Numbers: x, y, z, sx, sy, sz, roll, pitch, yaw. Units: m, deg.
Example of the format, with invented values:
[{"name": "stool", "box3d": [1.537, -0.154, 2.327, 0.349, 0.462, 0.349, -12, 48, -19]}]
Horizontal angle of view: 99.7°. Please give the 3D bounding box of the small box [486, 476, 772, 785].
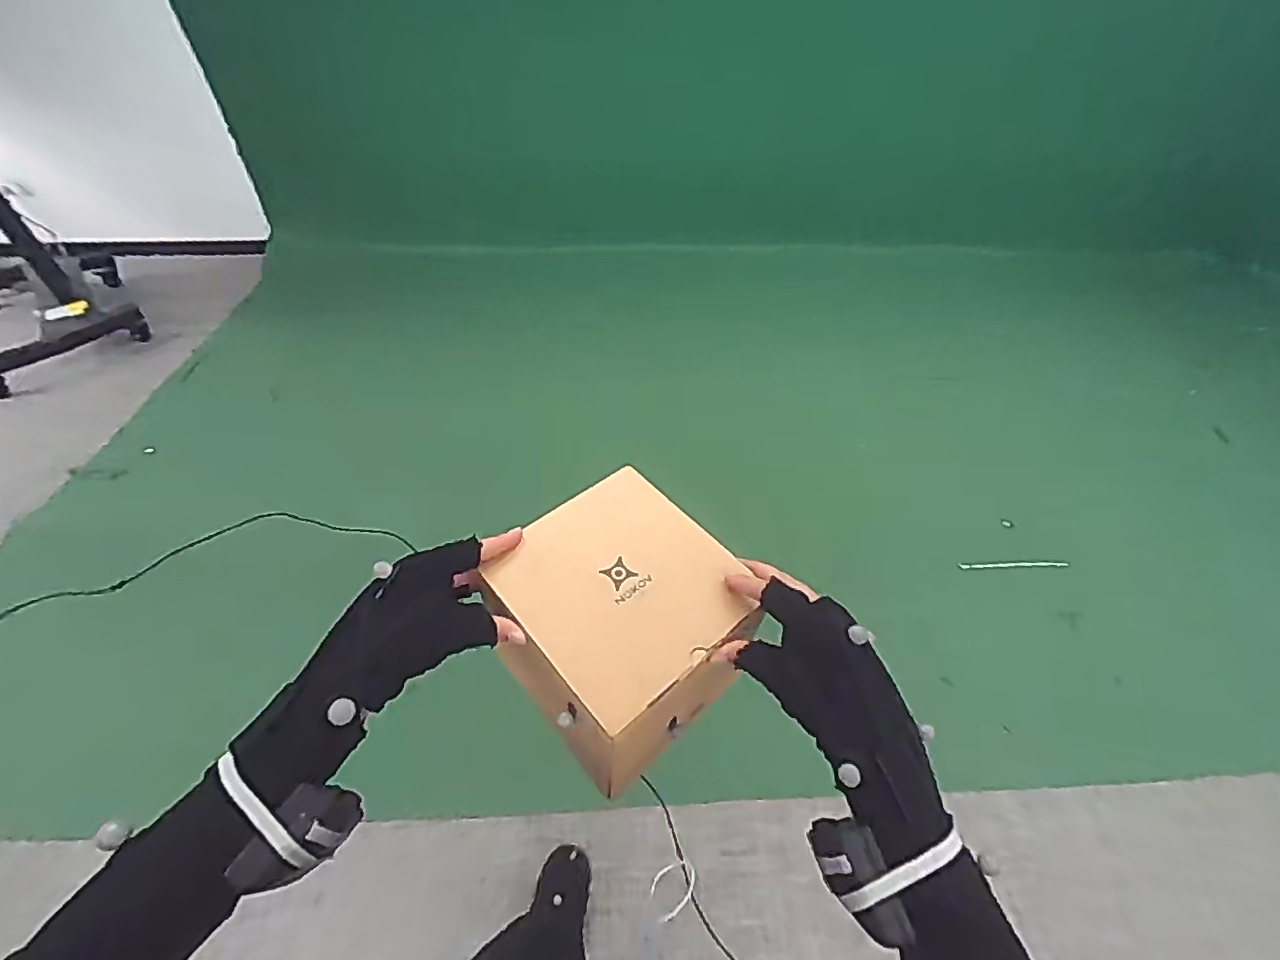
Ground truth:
[{"name": "small box", "box3d": [-0.016, 0.135, 0.490, 0.168, 0.176, 0.179, -31, 58, -28]}]
